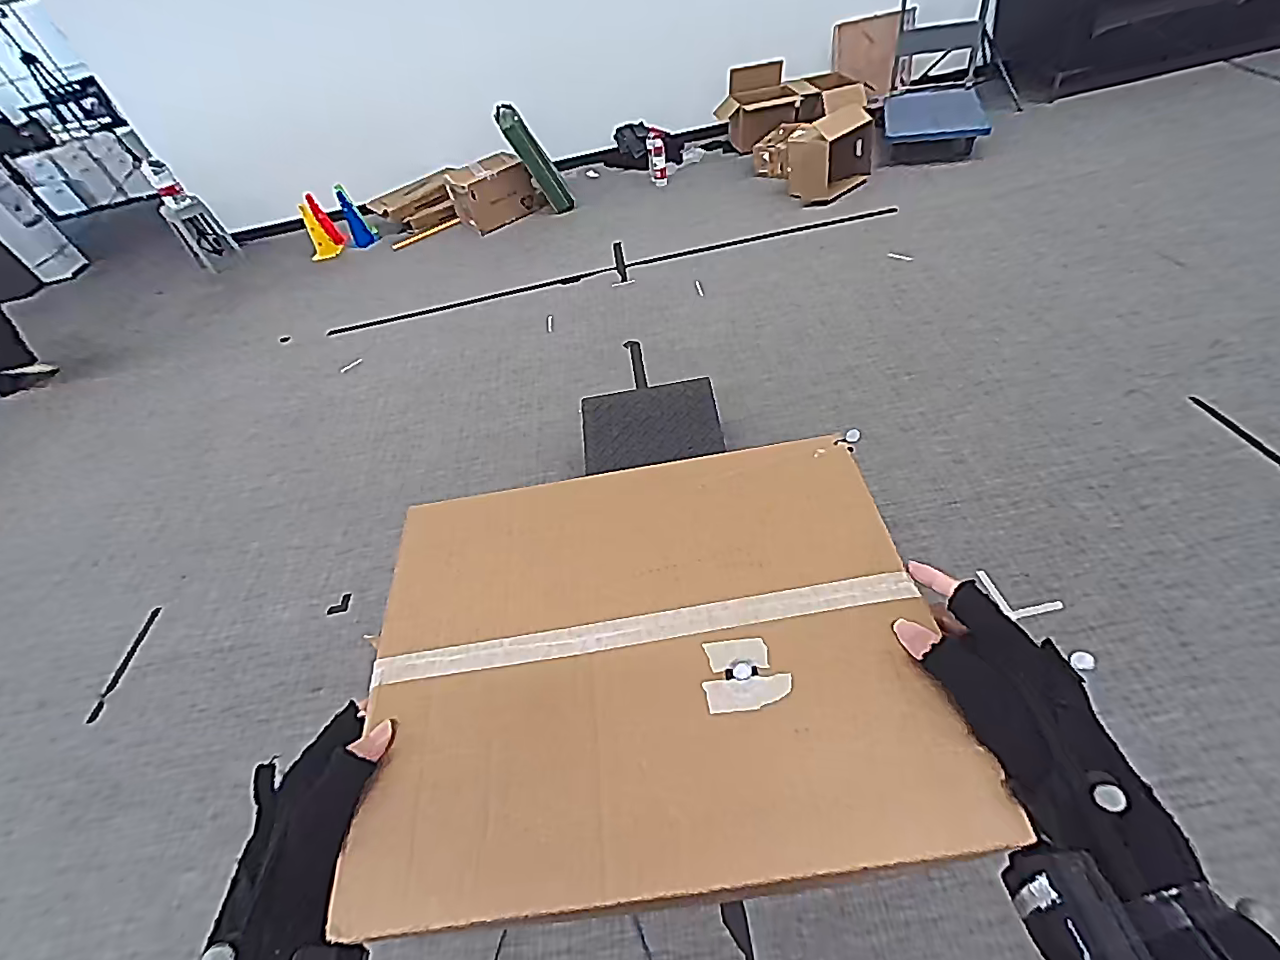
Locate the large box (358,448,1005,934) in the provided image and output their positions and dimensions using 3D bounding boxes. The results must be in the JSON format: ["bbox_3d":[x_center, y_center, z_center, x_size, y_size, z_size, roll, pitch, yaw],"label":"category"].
[{"bbox_3d":[0.023,0.213,0.529,0.408,0.320,0.320,-10,51,2],"label":"large box"}]
